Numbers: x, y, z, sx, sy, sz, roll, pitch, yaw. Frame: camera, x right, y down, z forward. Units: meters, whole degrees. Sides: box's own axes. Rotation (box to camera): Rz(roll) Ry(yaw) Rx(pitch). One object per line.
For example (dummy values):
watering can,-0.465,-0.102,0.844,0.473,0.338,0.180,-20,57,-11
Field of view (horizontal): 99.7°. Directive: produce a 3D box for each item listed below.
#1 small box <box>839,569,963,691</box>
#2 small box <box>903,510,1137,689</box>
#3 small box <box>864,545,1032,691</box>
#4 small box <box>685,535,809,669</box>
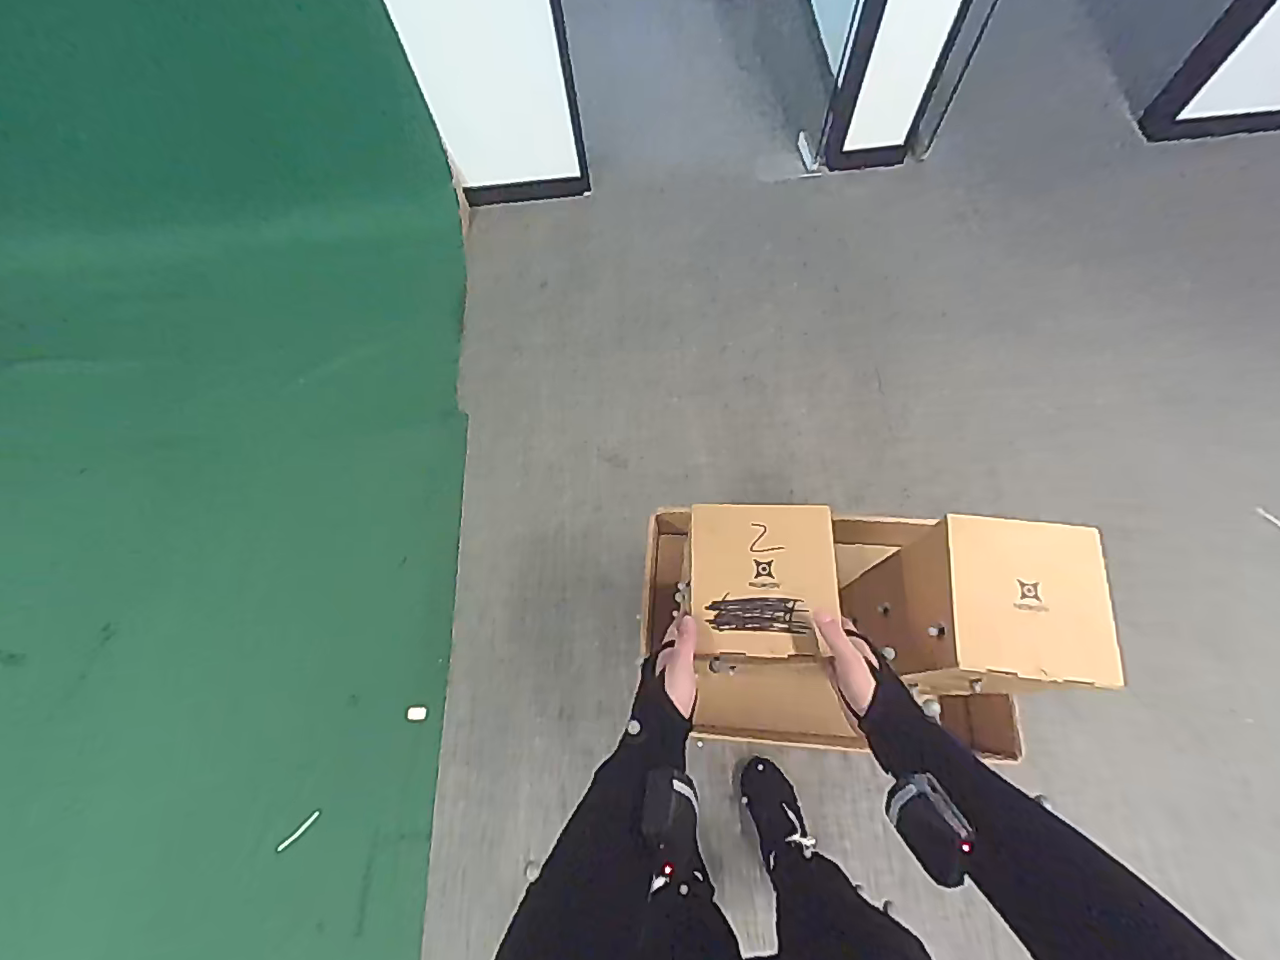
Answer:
small box,0.459,0.271,0.960,0.168,0.176,0.179,6,69,7
small box,0.436,0.151,0.658,0.168,0.176,0.179,5,69,6
small box,0.444,0.211,0.809,0.168,0.176,0.179,6,69,6
small box,0.153,0.192,0.834,0.168,0.176,0.179,0,68,4
